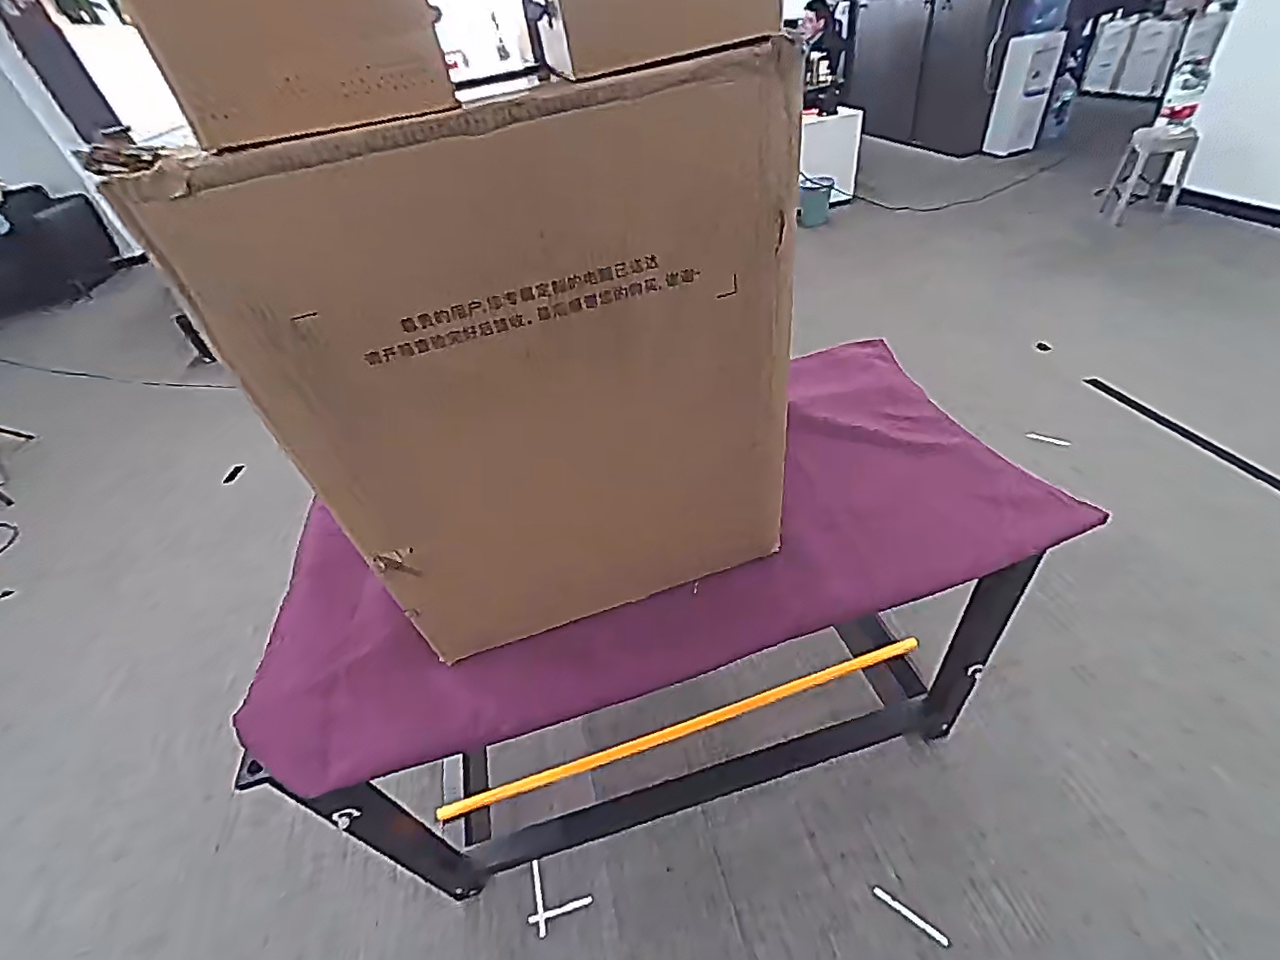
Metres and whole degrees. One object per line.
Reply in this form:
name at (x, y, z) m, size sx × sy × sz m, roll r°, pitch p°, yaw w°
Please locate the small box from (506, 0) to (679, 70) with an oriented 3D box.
small box at (-0.065, -0.556, 0.577) m, size 0.168 × 0.176 × 0.179 m, roll -16°, pitch 41°, yaw -5°
